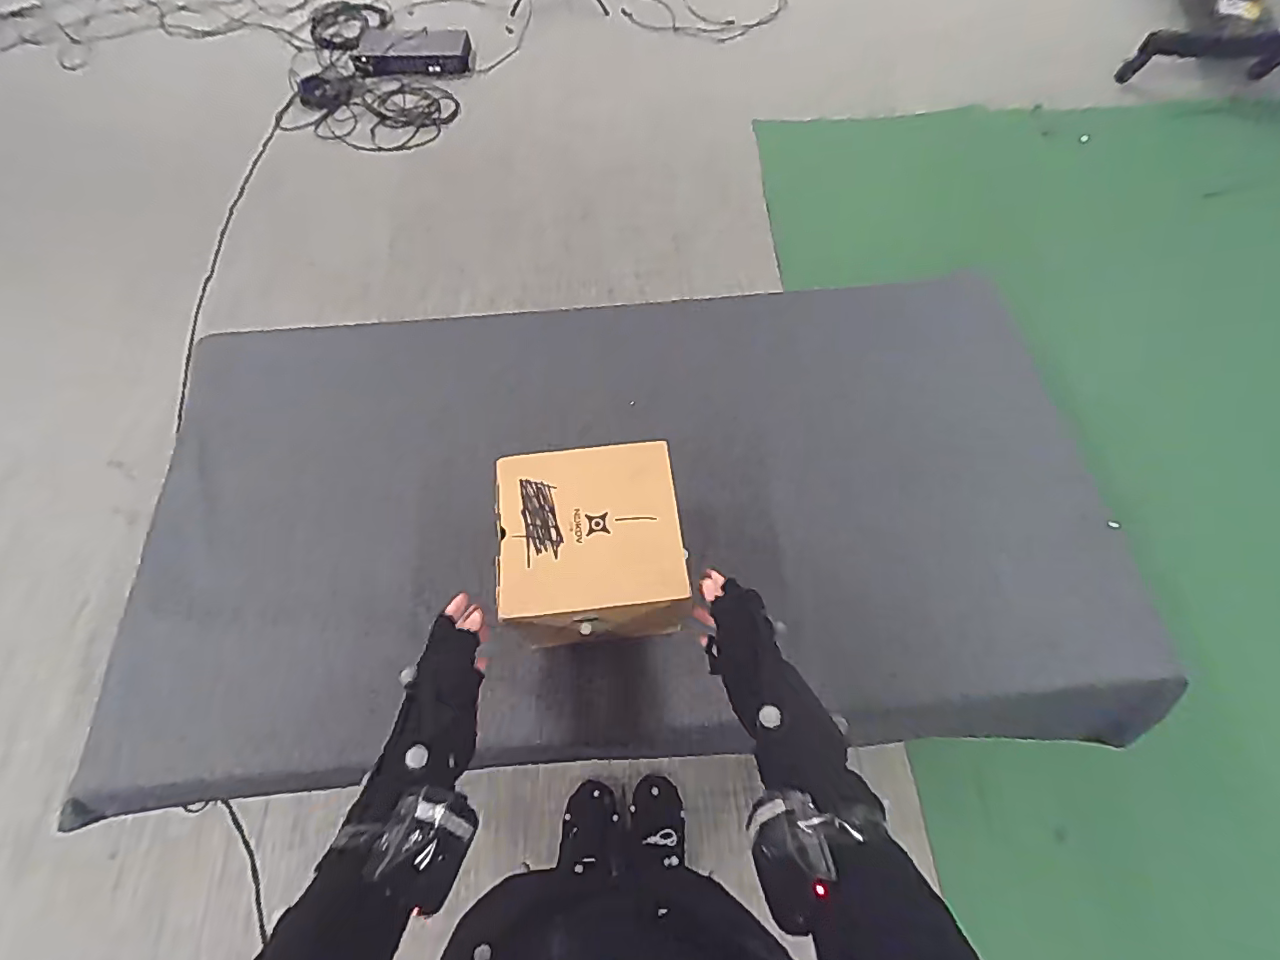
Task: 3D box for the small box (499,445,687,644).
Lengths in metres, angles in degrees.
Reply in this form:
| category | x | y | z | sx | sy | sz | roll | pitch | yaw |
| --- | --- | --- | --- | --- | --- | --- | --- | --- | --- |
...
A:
| category | x | y | z | sx | sy | sz | roll | pitch | yaw |
| --- | --- | --- | --- | --- | --- | --- | --- | --- | --- |
| small box | -0.049 | 0.079 | 0.599 | 0.179 | 0.176 | 0.168 | -6 | 64 | -3 |
